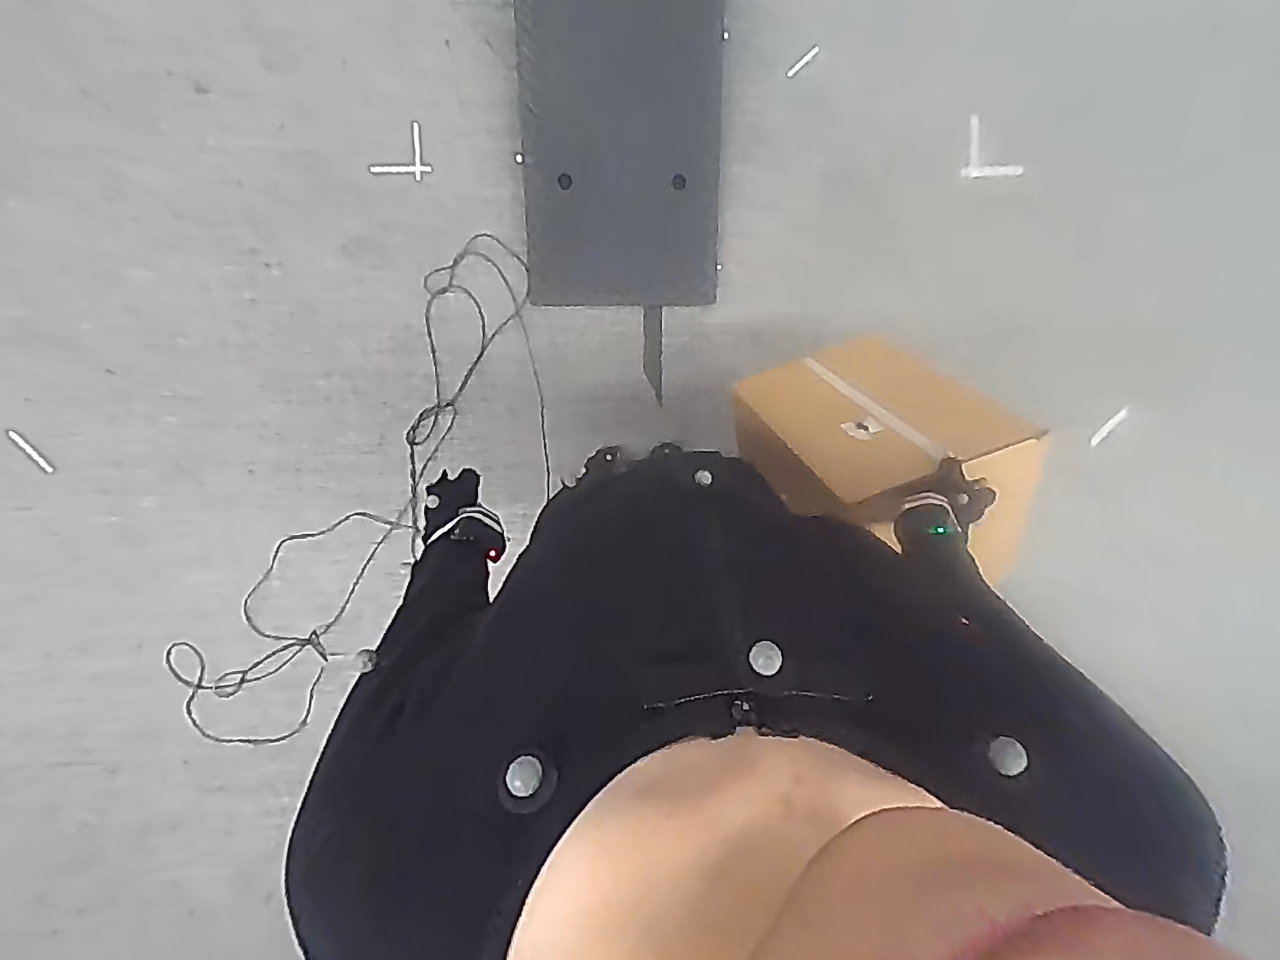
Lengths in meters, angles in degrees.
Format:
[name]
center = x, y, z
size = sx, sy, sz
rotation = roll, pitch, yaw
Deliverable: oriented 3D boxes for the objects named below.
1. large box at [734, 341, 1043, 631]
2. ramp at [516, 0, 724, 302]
[large box]
center = 0.402, -0.008, 0.993
size = 0.320, 0.408, 0.320
rotation = -19, 127, -5
[ramp]
center = -0.042, -0.957, 1.305
size = 0.509, 0.206, 0.991
rotation = -3, 96, -4
